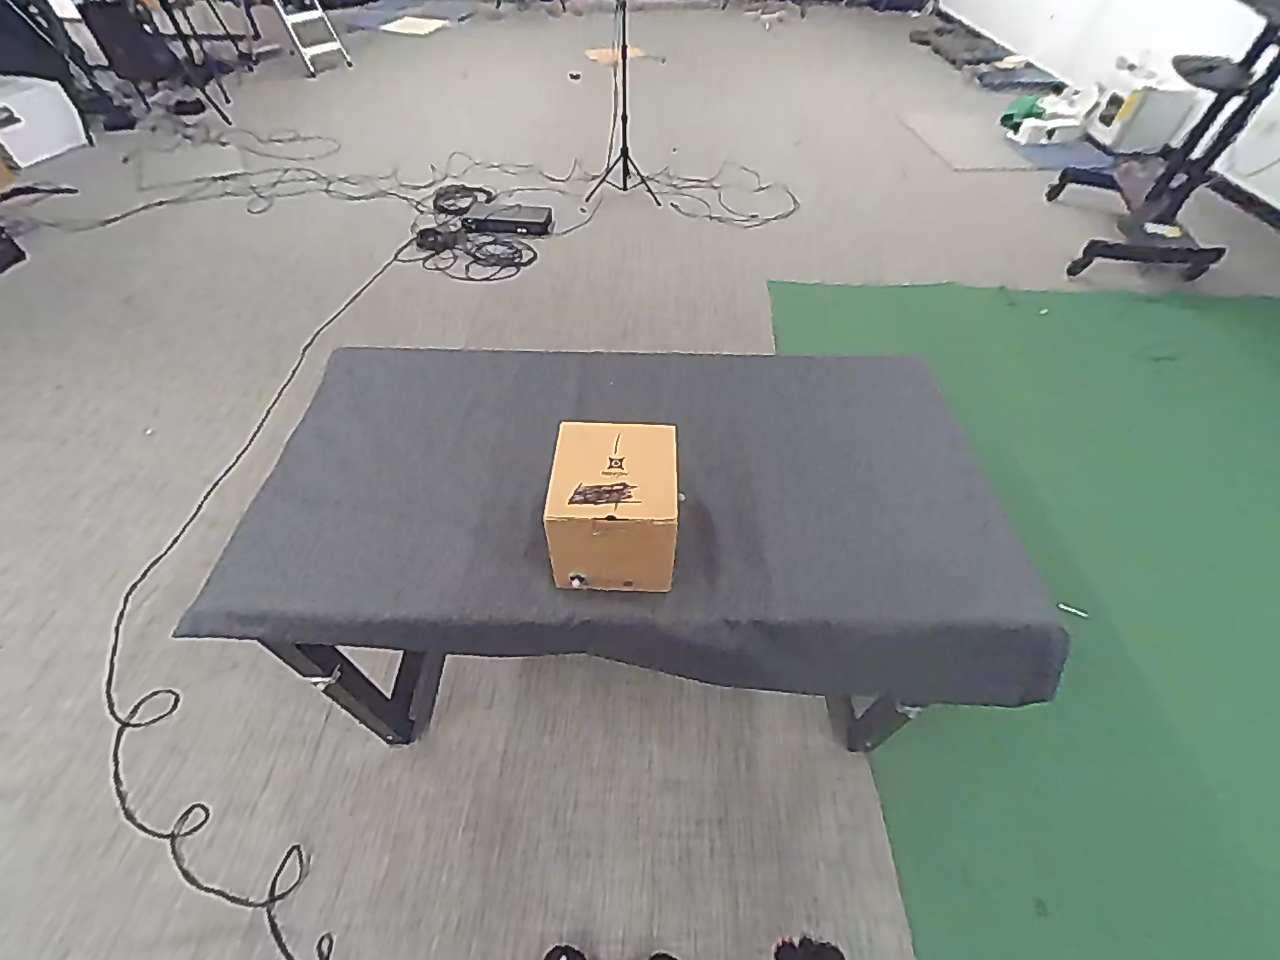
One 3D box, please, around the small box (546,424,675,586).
[{"bbox_3d":[-0.035,0.040,0.791,0.168,0.176,0.179,2,48,0],"label":"small box"}]
